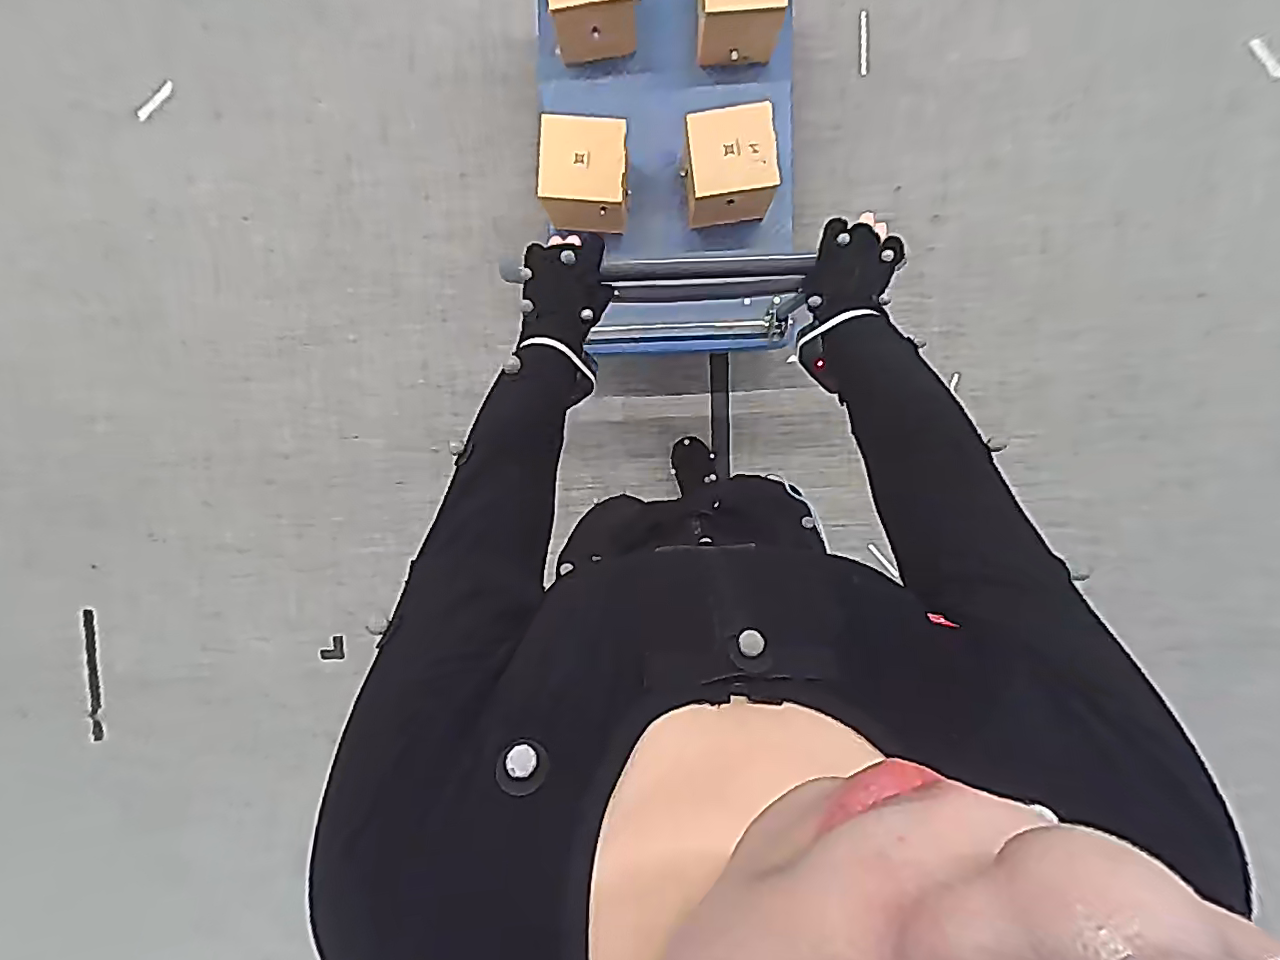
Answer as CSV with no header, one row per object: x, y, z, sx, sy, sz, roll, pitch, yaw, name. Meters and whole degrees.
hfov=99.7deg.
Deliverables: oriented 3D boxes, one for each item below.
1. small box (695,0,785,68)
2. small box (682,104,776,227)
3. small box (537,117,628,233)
0.205,-1.023,1.148,0.168,0.176,0.179,-2,96,2,small box
0.186,-0.672,1.177,0.179,0.176,0.168,-7,95,2,small box
-0.120,-0.660,1.186,0.179,0.176,0.168,4,94,0,small box
